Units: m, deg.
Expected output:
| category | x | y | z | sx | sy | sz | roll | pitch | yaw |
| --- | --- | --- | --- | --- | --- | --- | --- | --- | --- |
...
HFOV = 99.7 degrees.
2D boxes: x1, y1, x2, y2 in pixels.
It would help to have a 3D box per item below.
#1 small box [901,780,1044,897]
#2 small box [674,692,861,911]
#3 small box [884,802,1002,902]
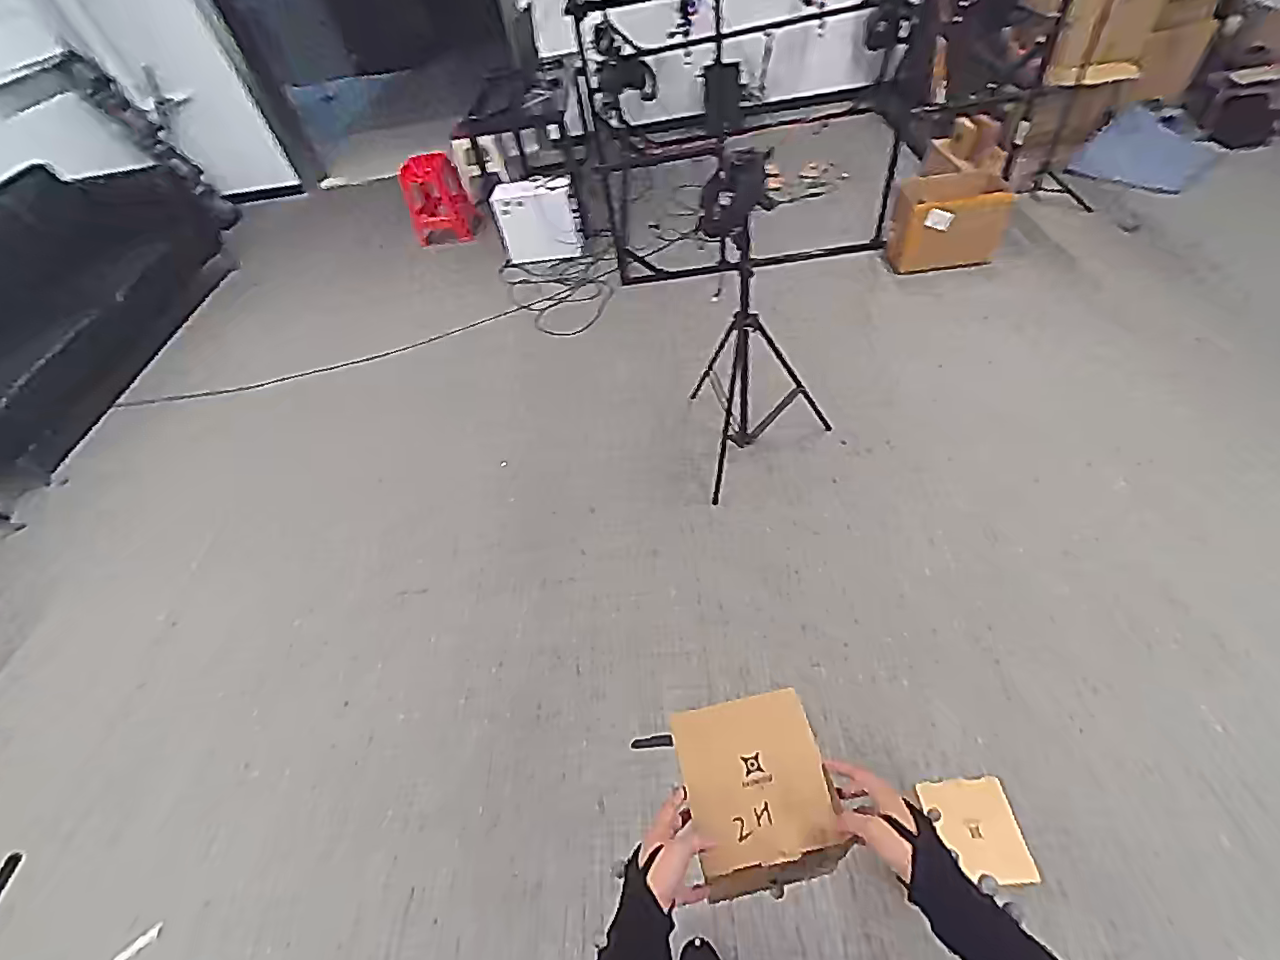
| category | x | y | z | sx | sy | sz | roll | pitch | yaw |
| --- | --- | --- | --- | --- | --- | --- | --- | --- | --- |
| small box | 0.653 | 0.724 | 1.087 | 0.168 | 0.176 | 0.179 | -7 | 48 | 4 |
| small box | 0.142 | 0.396 | 0.668 | 0.168 | 0.176 | 0.179 | -12 | 45 | -4 |
| small box | 0.671 | 0.830 | 1.210 | 0.168 | 0.176 | 0.179 | -8 | 48 | 3 |
